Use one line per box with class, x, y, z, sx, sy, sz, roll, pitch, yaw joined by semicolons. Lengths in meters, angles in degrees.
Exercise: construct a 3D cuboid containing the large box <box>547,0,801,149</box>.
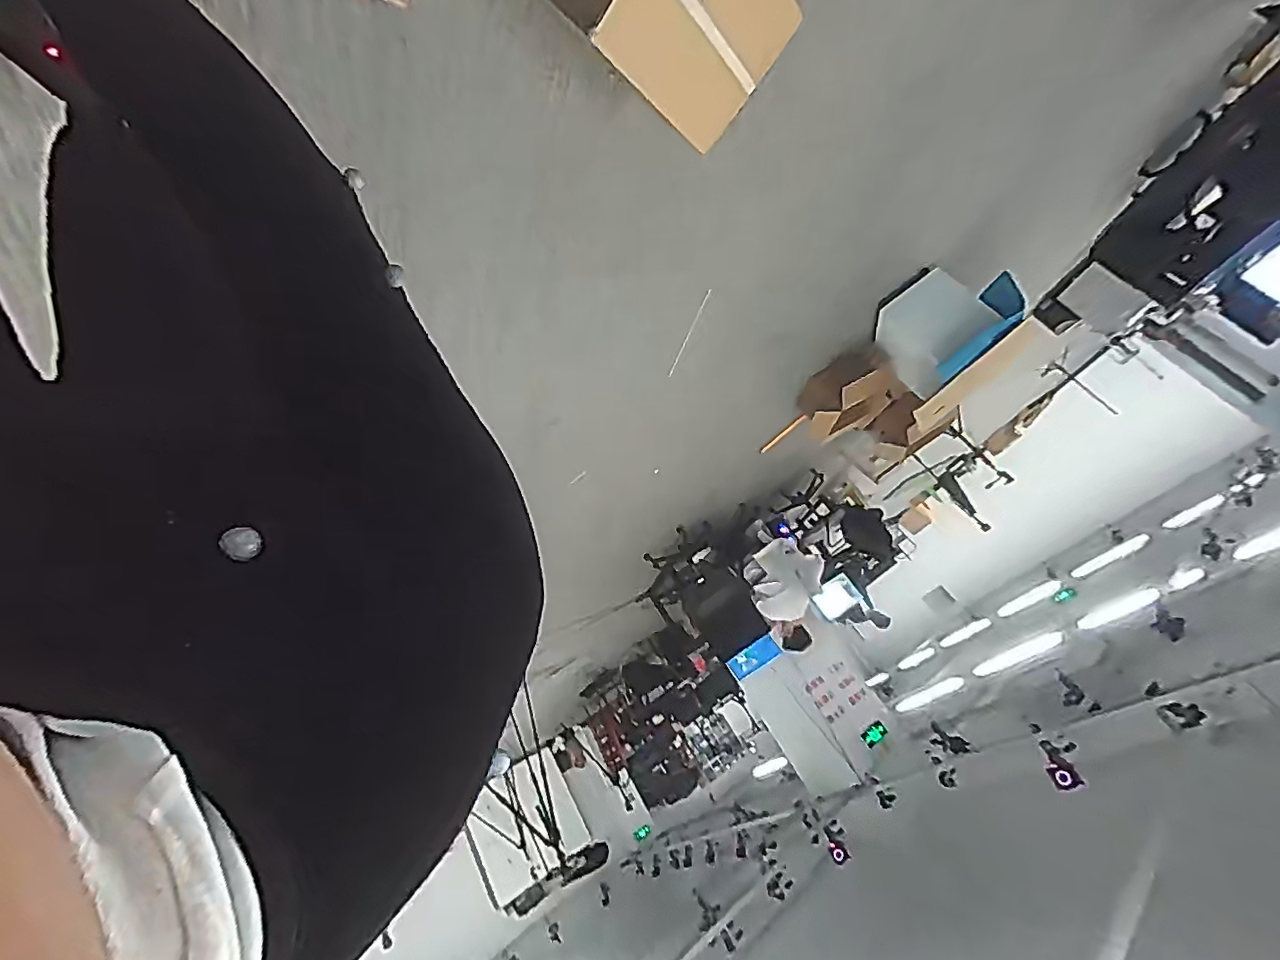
large box;0.043;-0.968;1.071;0.320;0.320;0.408;-47;153;26
